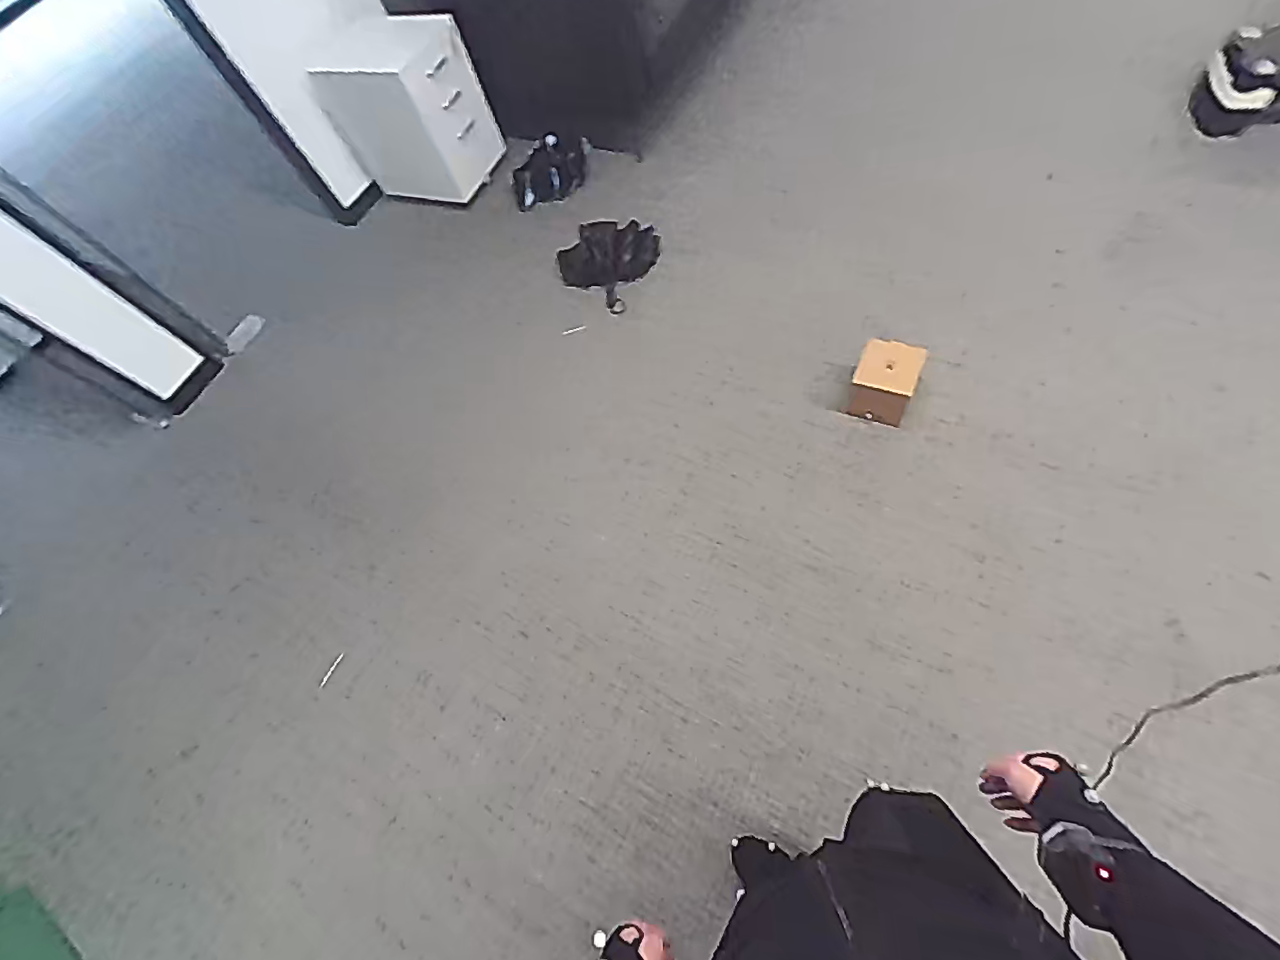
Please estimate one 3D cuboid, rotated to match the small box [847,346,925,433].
[{"bbox_3d":[0.735,-0.271,1.632,0.168,0.176,0.179,19,69,23],"label":"small box"}]
